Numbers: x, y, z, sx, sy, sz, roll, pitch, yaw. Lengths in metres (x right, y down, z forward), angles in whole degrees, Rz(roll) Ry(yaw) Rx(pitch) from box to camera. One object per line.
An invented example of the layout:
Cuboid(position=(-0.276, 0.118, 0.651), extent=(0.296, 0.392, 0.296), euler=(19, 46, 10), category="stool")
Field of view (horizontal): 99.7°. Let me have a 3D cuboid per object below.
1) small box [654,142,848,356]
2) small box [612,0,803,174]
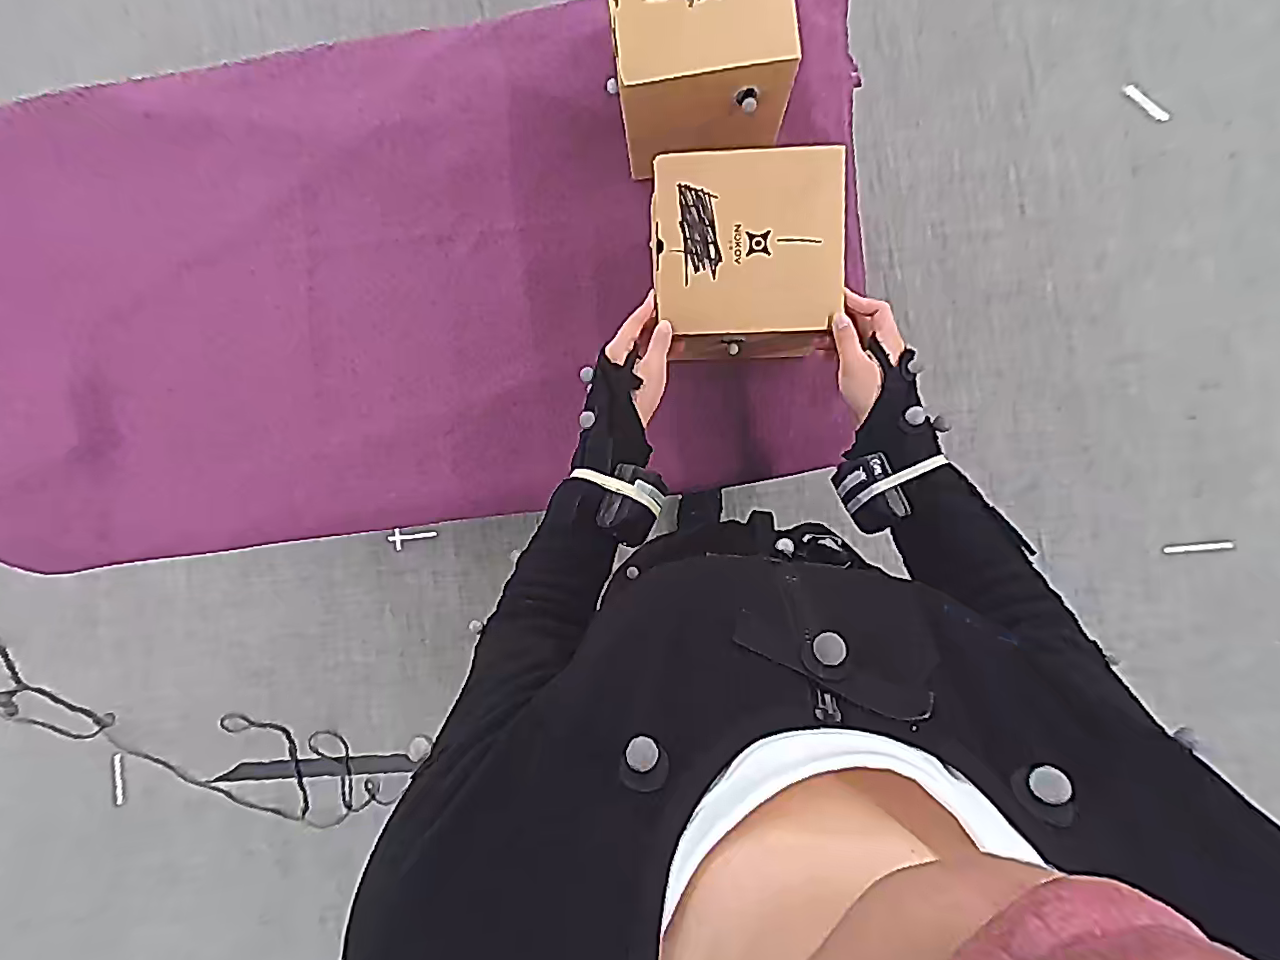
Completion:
Cuboid(position=(0.109, -0.228, 0.577), extent=(0.179, 0.176, 0.168), euler=(-1, 95, 5), category="small box")
Cuboid(position=(0.064, -0.468, 0.590), extent=(0.179, 0.176, 0.168), euler=(-6, 89, 4), category="small box")
